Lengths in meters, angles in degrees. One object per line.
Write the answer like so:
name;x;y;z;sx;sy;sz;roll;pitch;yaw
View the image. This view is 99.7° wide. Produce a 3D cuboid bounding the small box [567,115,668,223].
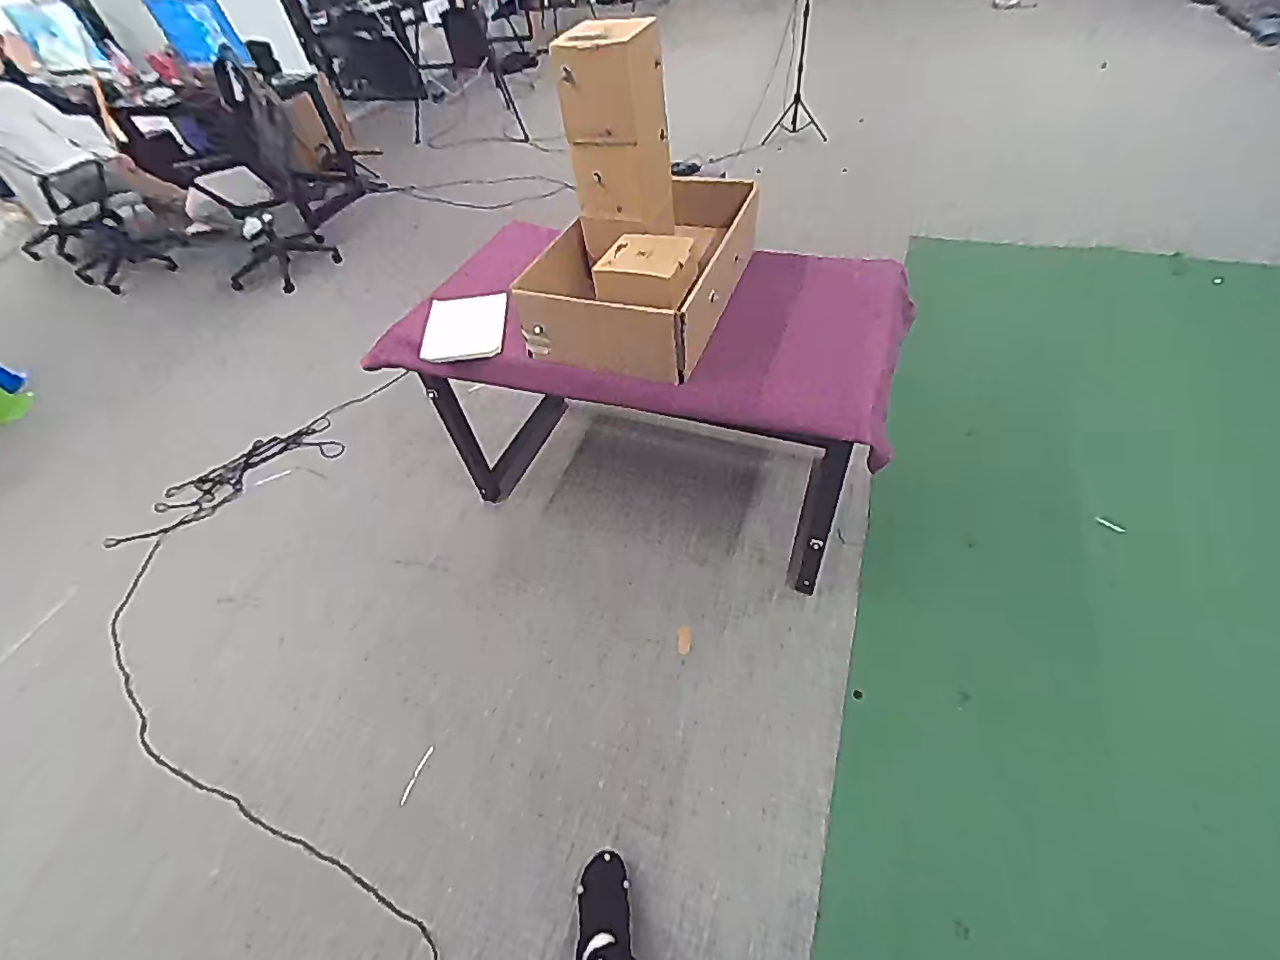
small box;-0.041;-0.716;1.248;0.168;0.176;0.179;15;55;20
